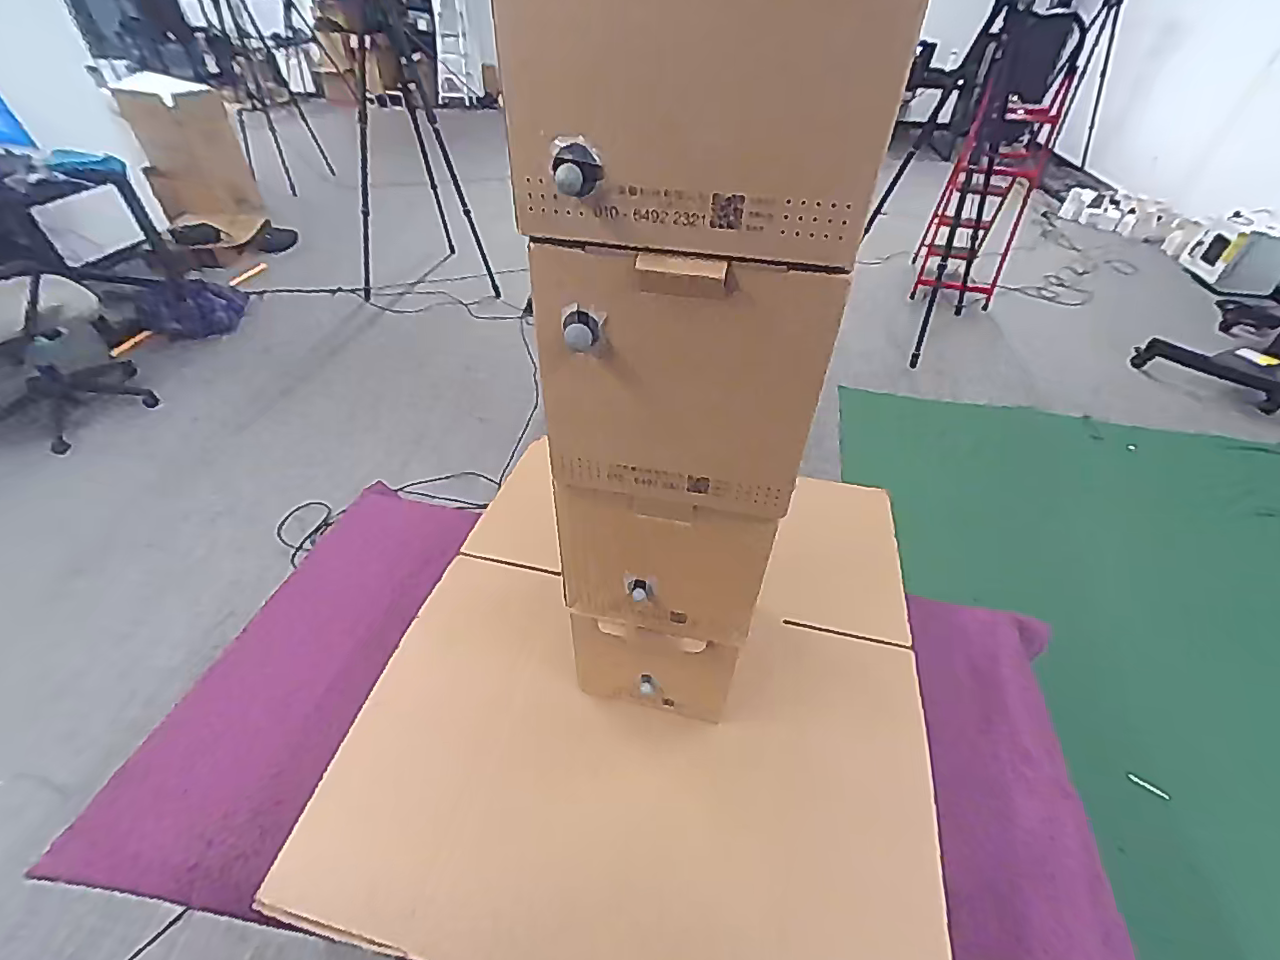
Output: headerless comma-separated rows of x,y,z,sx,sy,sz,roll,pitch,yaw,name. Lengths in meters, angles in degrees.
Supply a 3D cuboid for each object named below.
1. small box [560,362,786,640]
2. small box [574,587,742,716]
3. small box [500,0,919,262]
0.034,0.016,0.499,0.168,0.176,0.179,9,43,8,small box
0.032,0.132,0.613,0.168,0.176,0.179,10,43,10,small box
0.039,-0.224,0.272,0.168,0.176,0.179,9,41,8,small box
